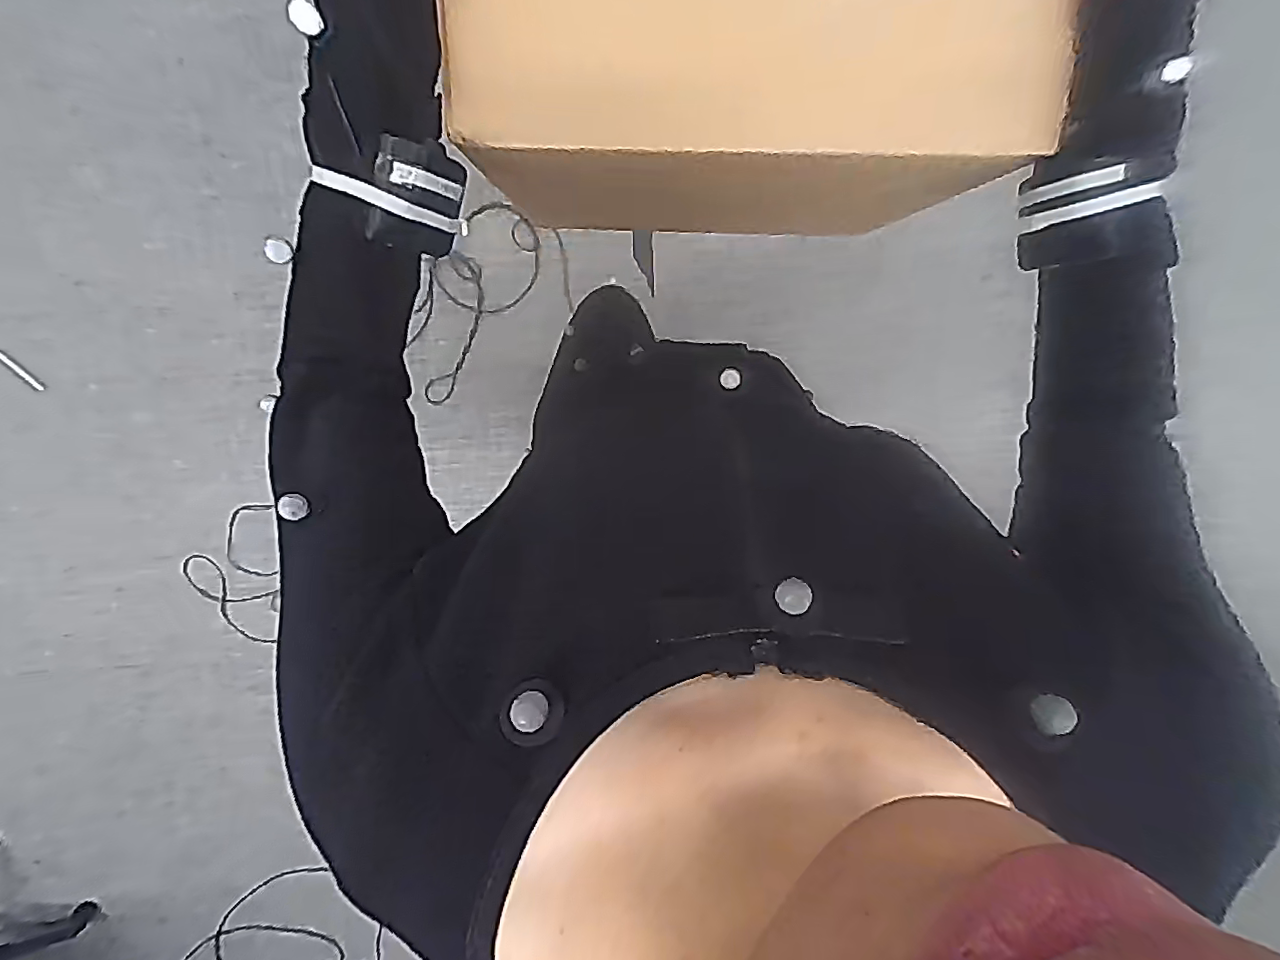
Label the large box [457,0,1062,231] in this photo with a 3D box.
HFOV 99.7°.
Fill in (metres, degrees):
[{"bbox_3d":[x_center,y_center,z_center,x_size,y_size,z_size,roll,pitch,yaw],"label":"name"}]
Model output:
[{"bbox_3d":[0.075,-0.416,0.478,0.408,0.320,0.320,0,106,-1],"label":"large box"}]
